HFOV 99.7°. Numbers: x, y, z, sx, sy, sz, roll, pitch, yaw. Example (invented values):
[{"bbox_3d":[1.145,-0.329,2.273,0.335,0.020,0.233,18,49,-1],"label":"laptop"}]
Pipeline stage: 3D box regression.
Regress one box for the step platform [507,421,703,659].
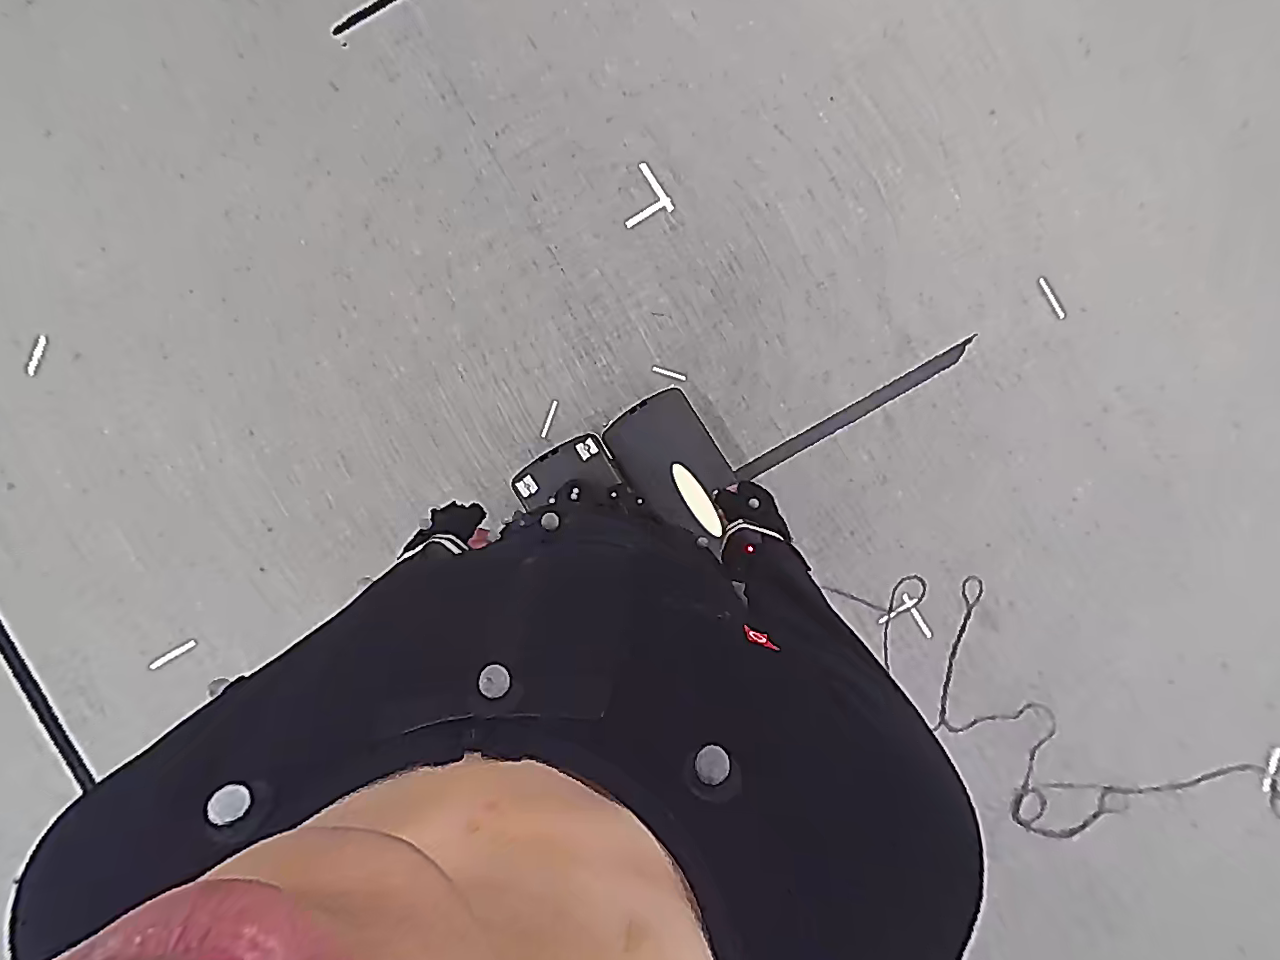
[{"bbox_3d":[-0.098,0.168,1.578,0.286,0.204,0.684,-32,89,-1],"label":"step platform"}]
